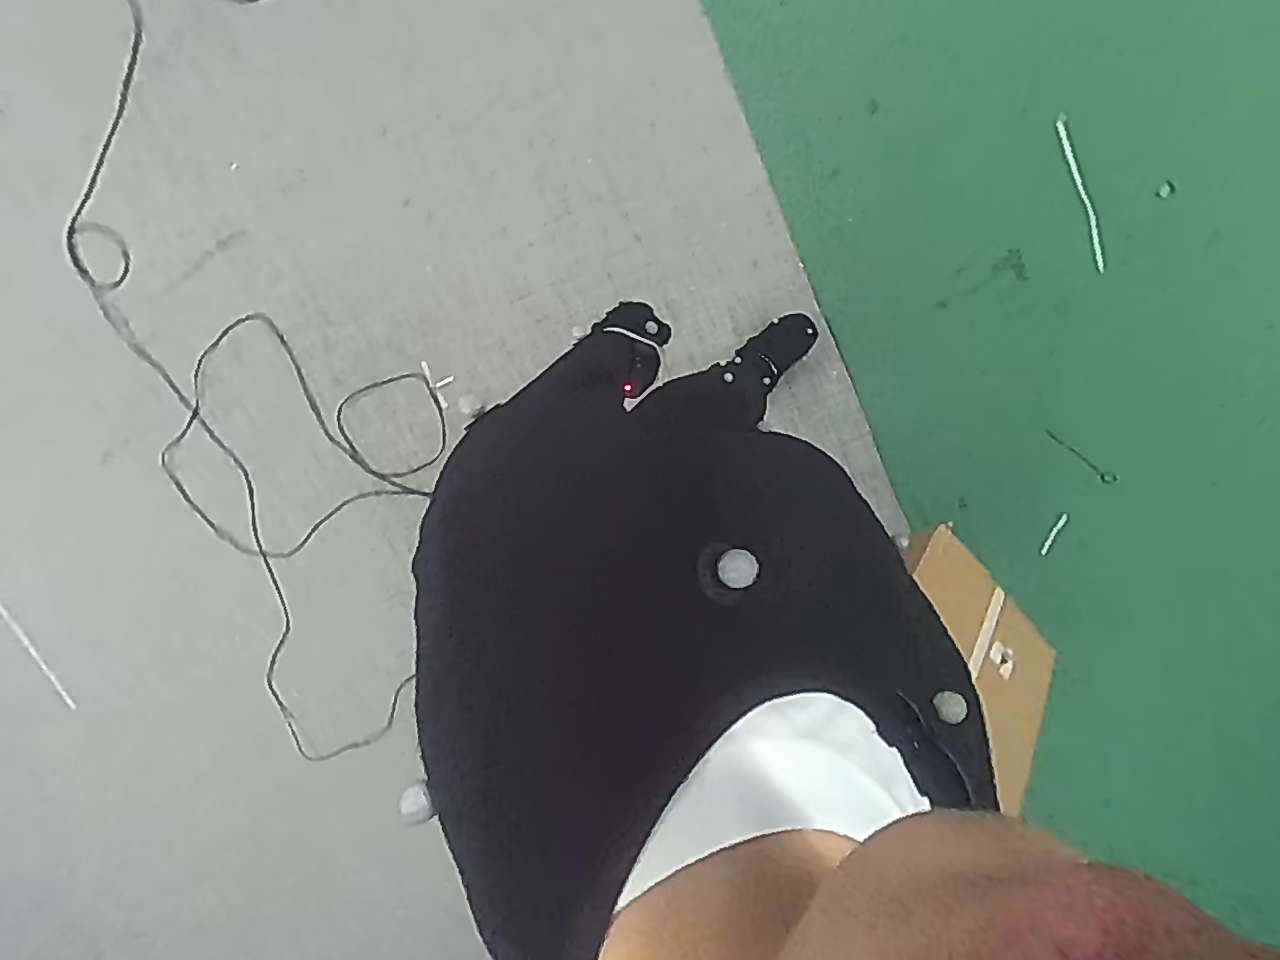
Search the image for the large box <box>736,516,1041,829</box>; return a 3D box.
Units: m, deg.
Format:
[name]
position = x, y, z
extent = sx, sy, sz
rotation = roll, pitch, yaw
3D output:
[large box]
position = 0.451, 0.341, 0.991
extent = 0.320, 0.408, 0.320
rotation = 51, 141, 2
